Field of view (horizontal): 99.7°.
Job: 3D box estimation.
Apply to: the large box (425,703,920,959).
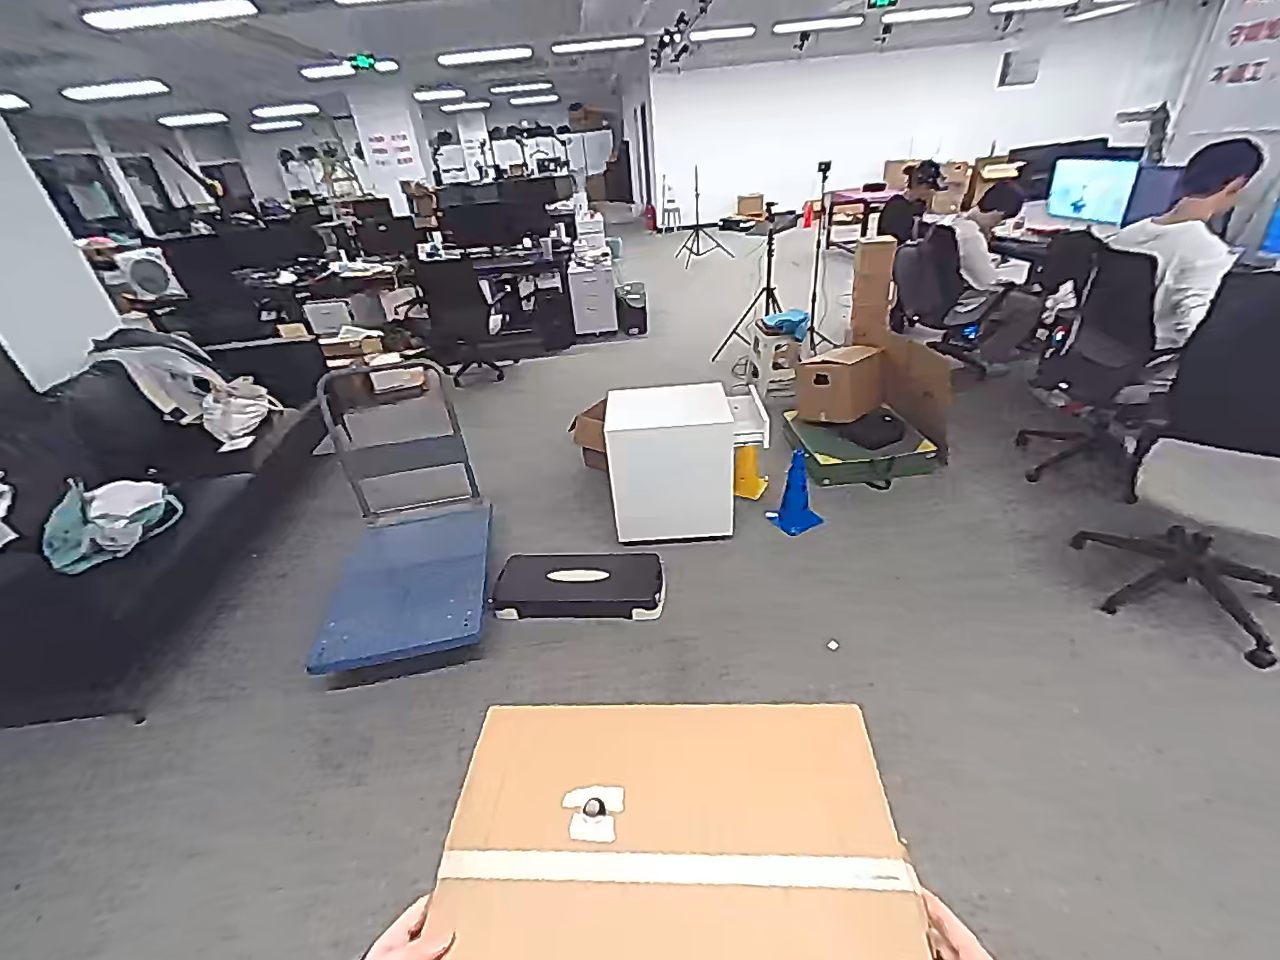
[{"bbox_3d":[0.042,0.465,0.565,0.408,0.320,0.320,-5,35,7],"label":"large box"}]
